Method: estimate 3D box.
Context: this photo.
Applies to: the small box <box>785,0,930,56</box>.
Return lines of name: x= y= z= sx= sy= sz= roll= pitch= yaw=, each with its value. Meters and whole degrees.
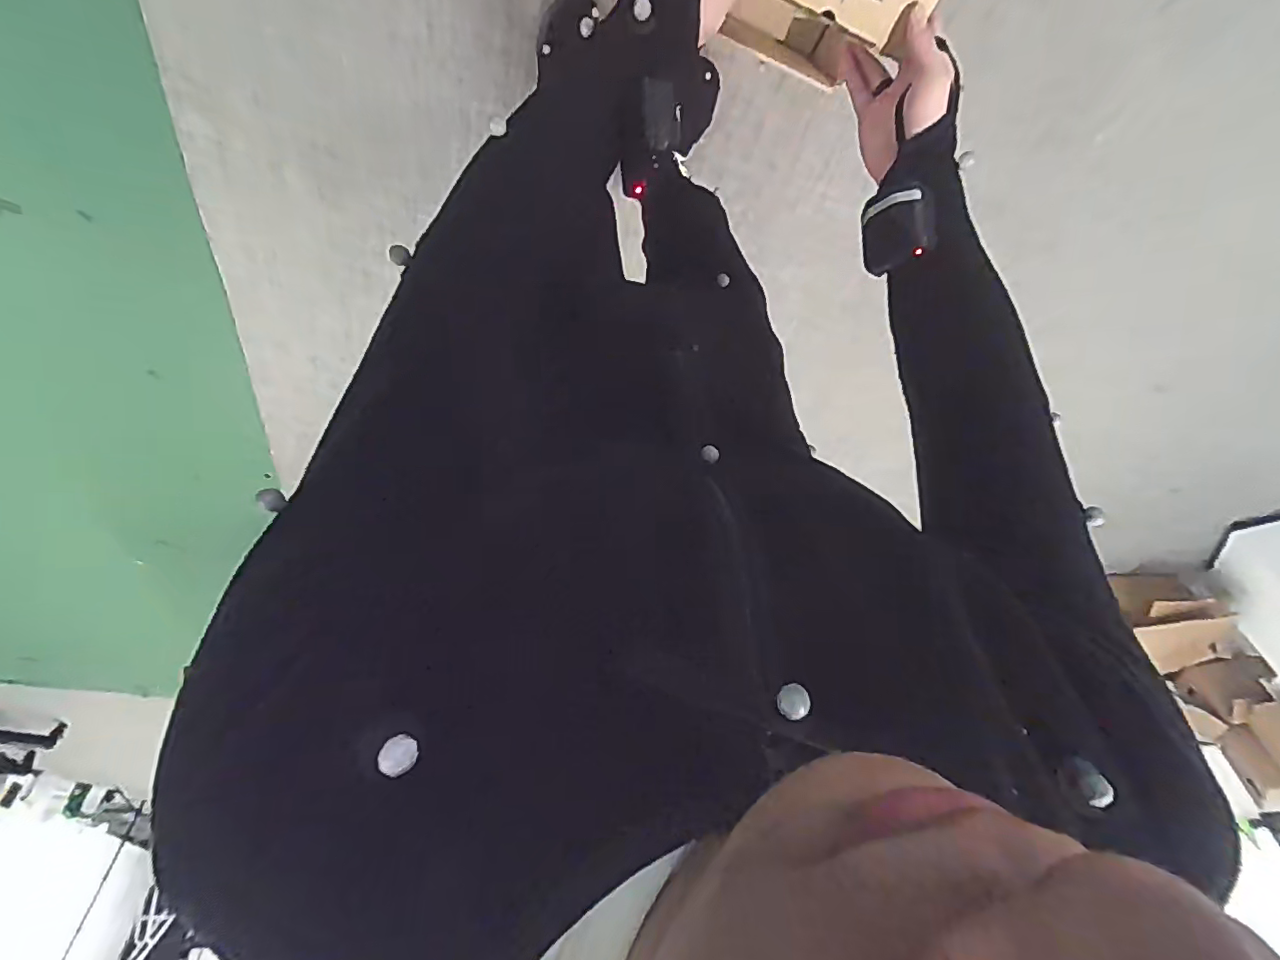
small box: x=0.182 y=-0.510 z=0.451 sx=0.168 sy=0.176 sz=0.179 roll=11 pitch=138 yaw=-18
